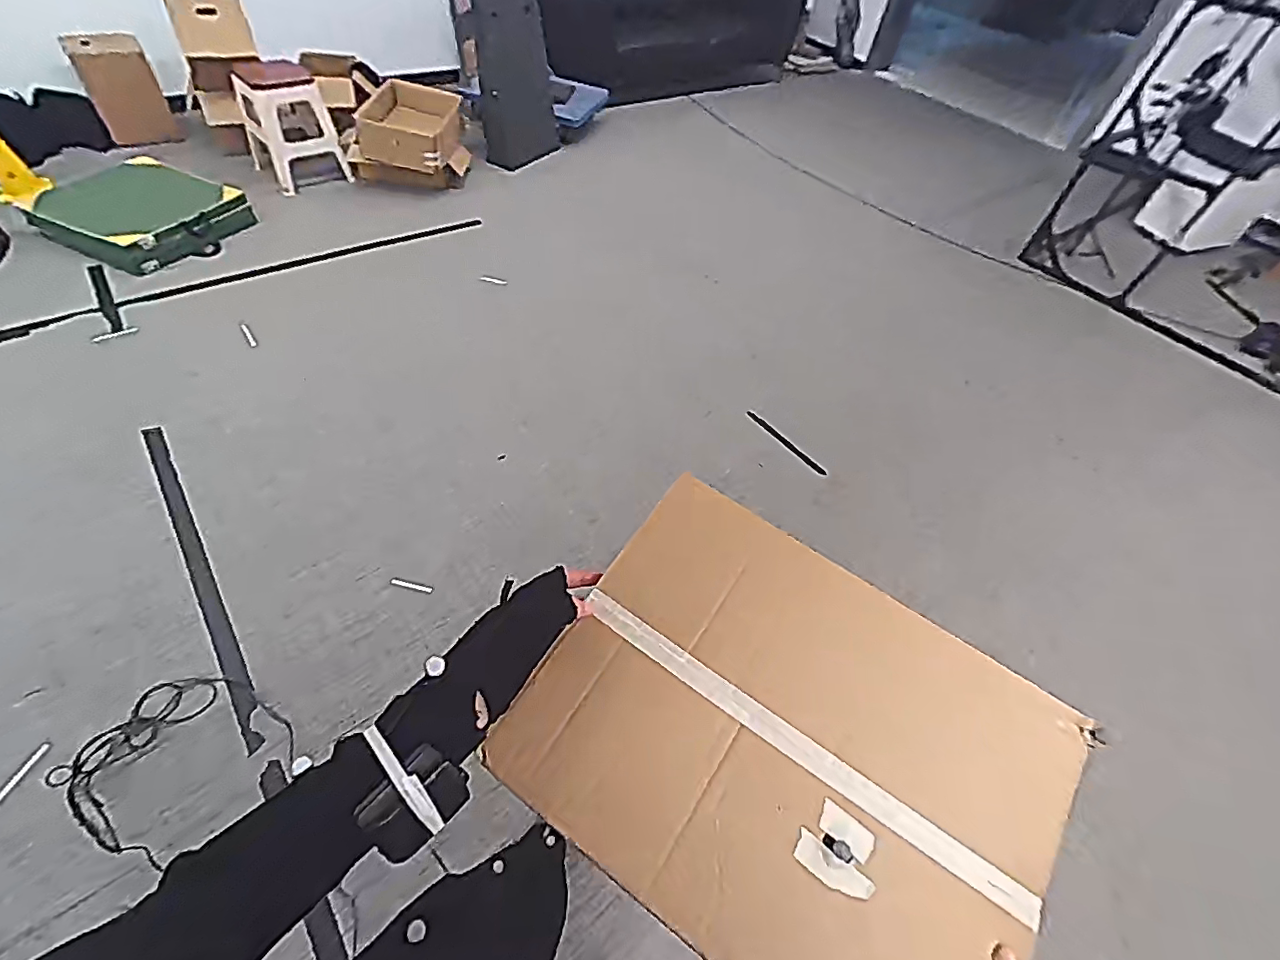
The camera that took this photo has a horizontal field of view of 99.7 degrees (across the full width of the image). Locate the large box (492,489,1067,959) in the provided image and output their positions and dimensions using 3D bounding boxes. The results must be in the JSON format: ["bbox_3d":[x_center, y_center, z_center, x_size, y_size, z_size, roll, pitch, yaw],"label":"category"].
[{"bbox_3d":[0.118,0.282,0.589,0.408,0.320,0.320,33,68,14],"label":"large box"}]
